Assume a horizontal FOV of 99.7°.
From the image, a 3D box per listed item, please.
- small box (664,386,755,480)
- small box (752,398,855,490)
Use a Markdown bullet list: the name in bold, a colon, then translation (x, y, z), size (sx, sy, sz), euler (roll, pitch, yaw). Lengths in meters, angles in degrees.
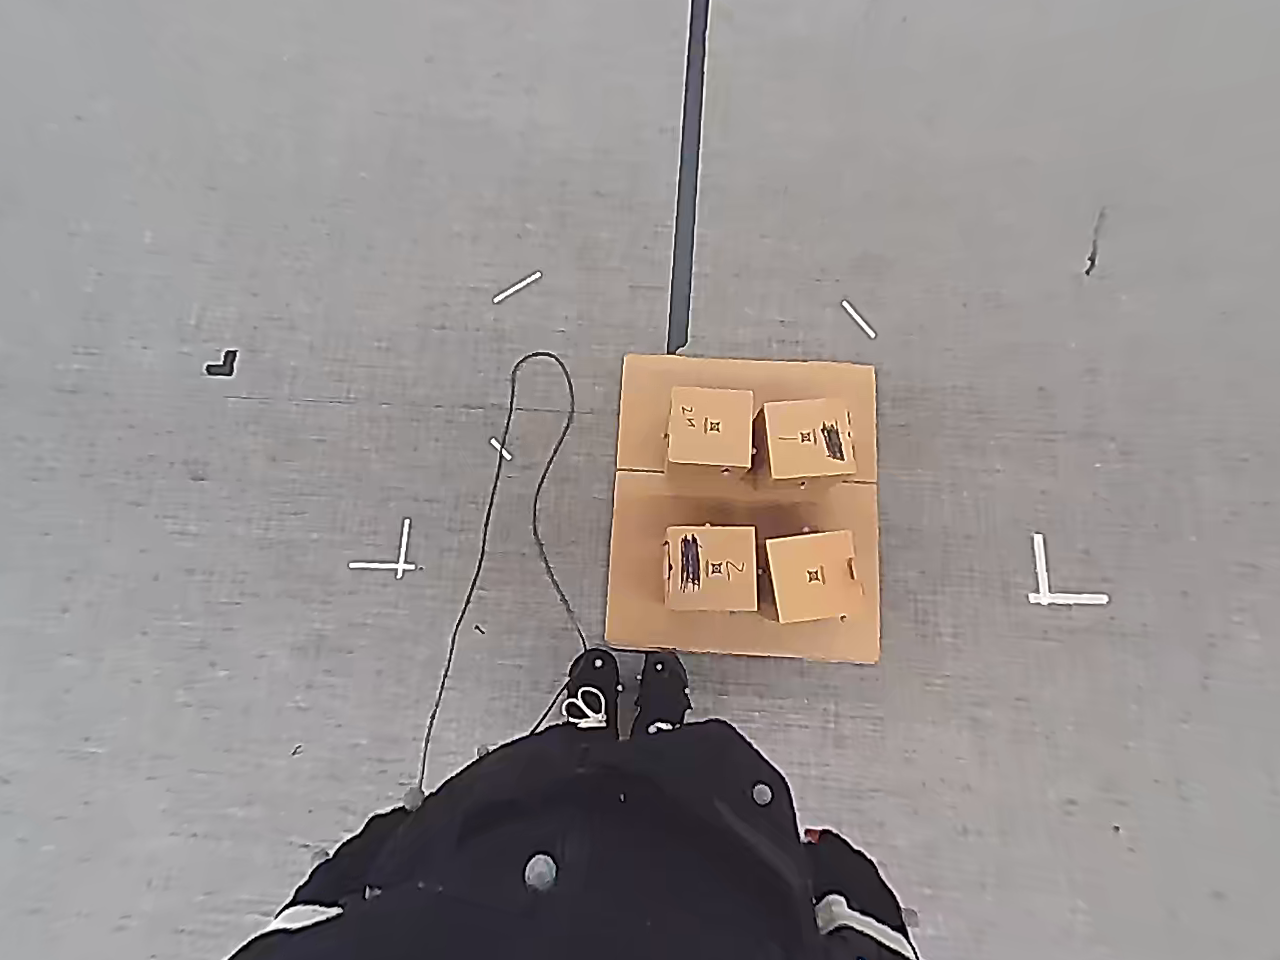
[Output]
- **small box**: translation (0.150, -0.098, 1.211), size (0.179, 0.176, 0.168), euler (5, 79, 2)
- **small box**: translation (0.352, -0.074, 1.201), size (0.179, 0.176, 0.168), euler (-4, 79, 1)
